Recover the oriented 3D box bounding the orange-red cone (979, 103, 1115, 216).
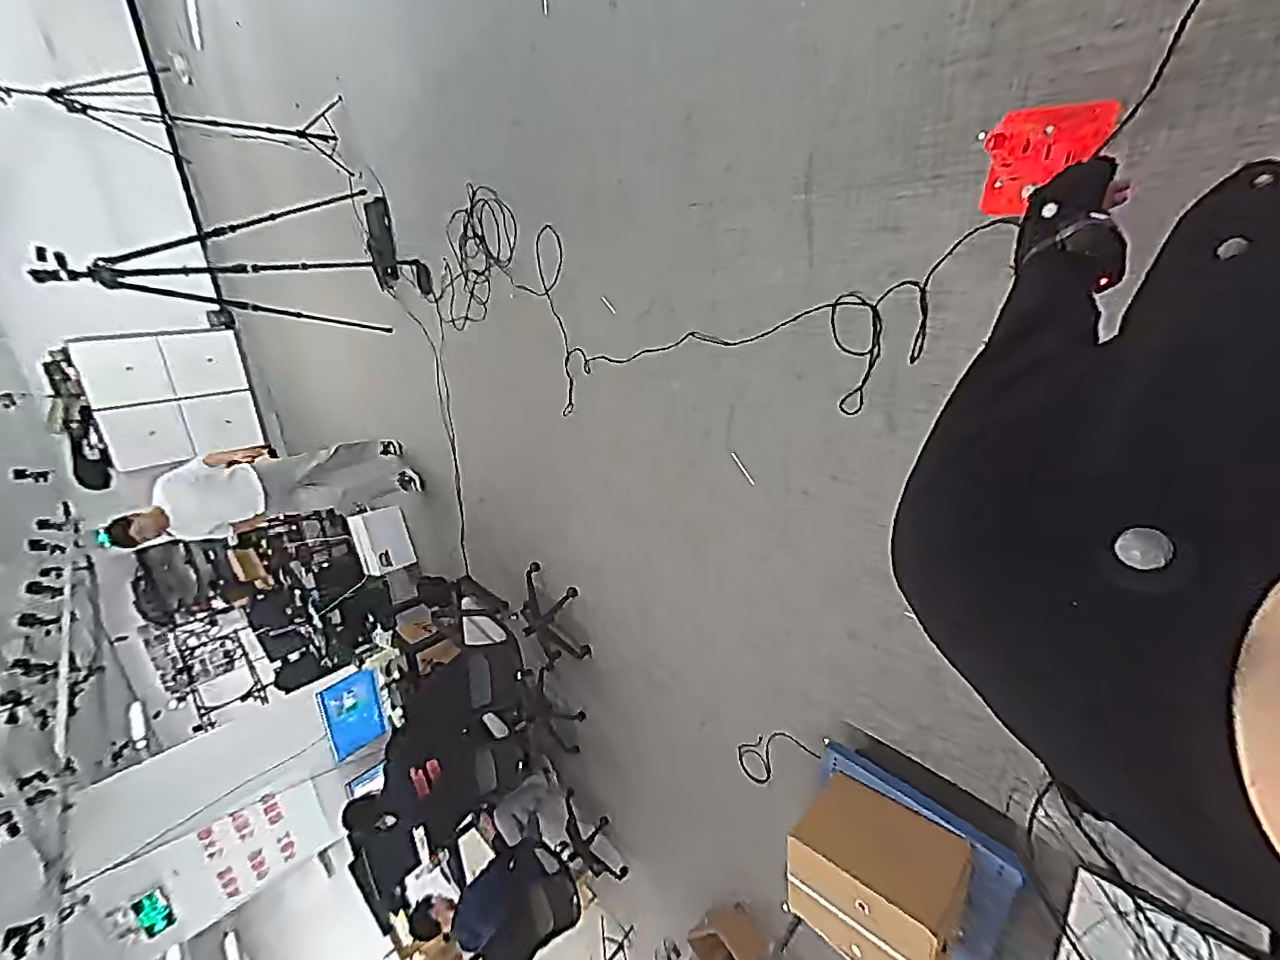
[{"bbox_3d":[0.729,-0.626,1.027,0.198,0.360,0.199,25,122,38],"label":"orange-red cone"}]
